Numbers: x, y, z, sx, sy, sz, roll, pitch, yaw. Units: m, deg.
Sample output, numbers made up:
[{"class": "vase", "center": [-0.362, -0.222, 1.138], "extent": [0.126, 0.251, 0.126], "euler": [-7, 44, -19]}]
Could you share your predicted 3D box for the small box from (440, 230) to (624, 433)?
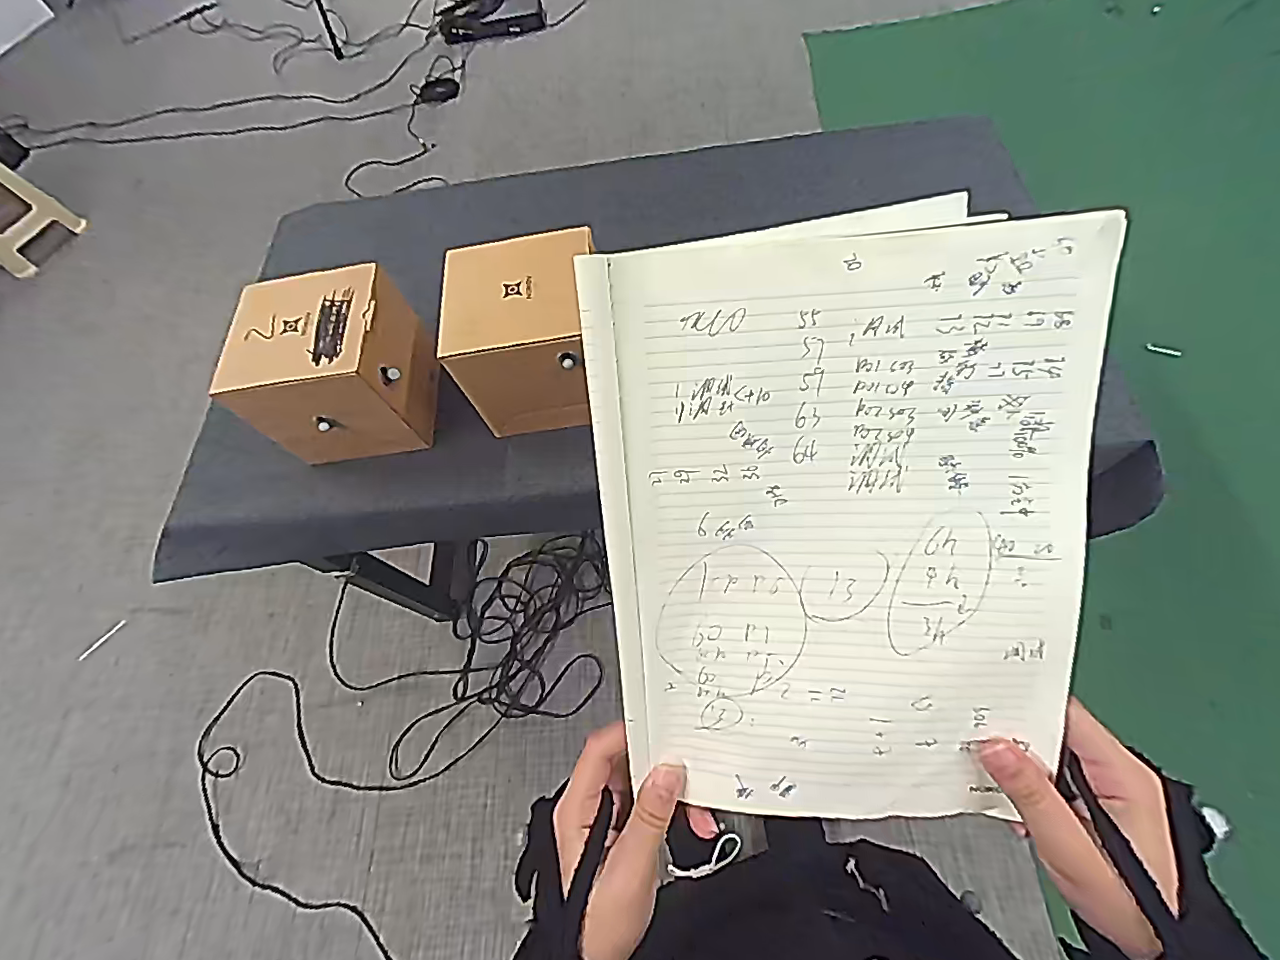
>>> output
[{"class": "small box", "center": [-0.124, -0.175, 0.675], "extent": [0.179, 0.176, 0.168], "euler": [-8, 63, 4]}]
